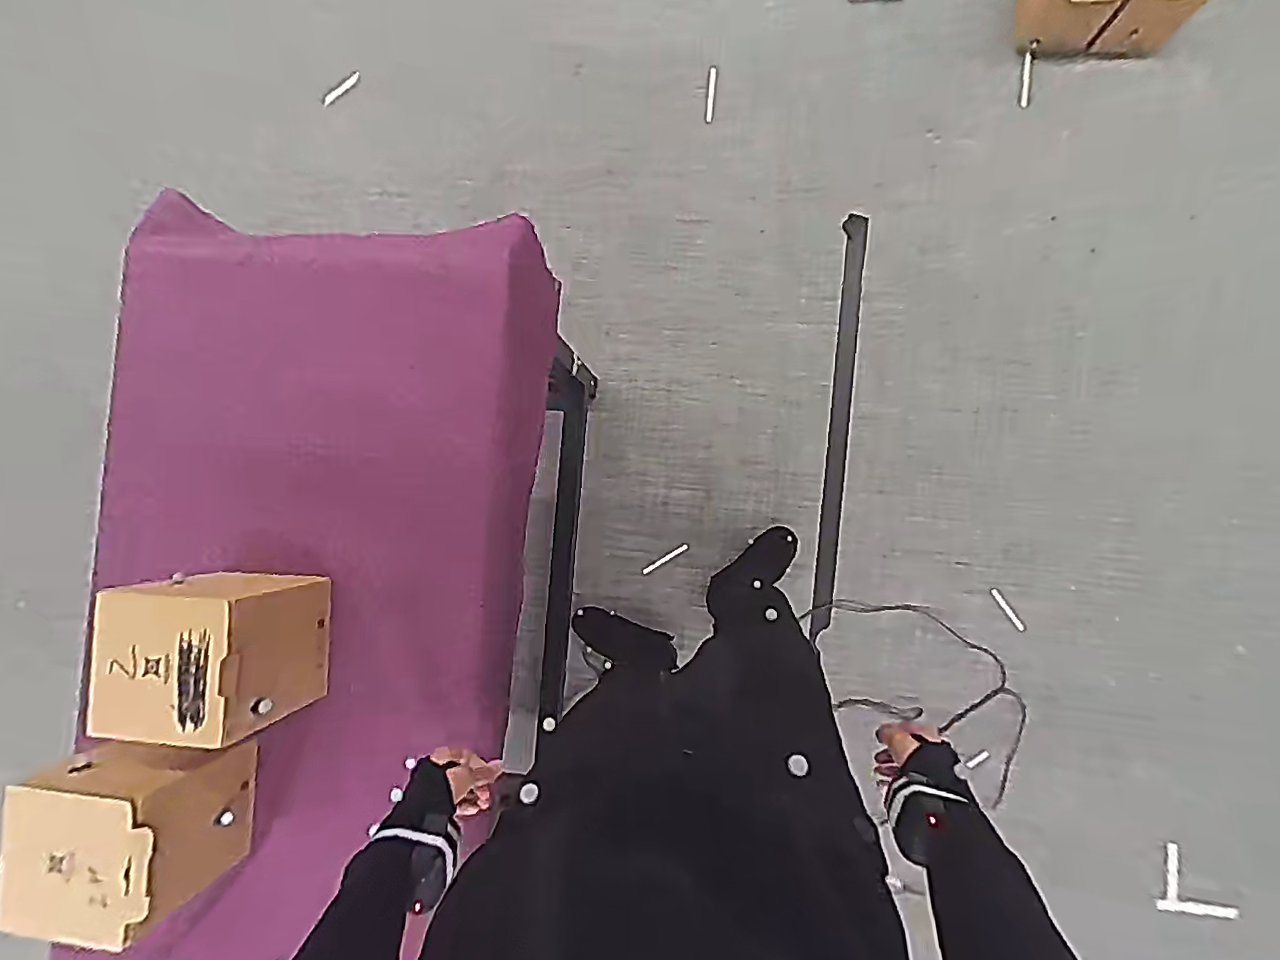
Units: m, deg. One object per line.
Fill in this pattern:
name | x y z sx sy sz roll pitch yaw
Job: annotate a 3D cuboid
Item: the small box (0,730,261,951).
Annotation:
small box | -0.636 0.439 0.691 0.179 0.176 0.168 3 88 6
